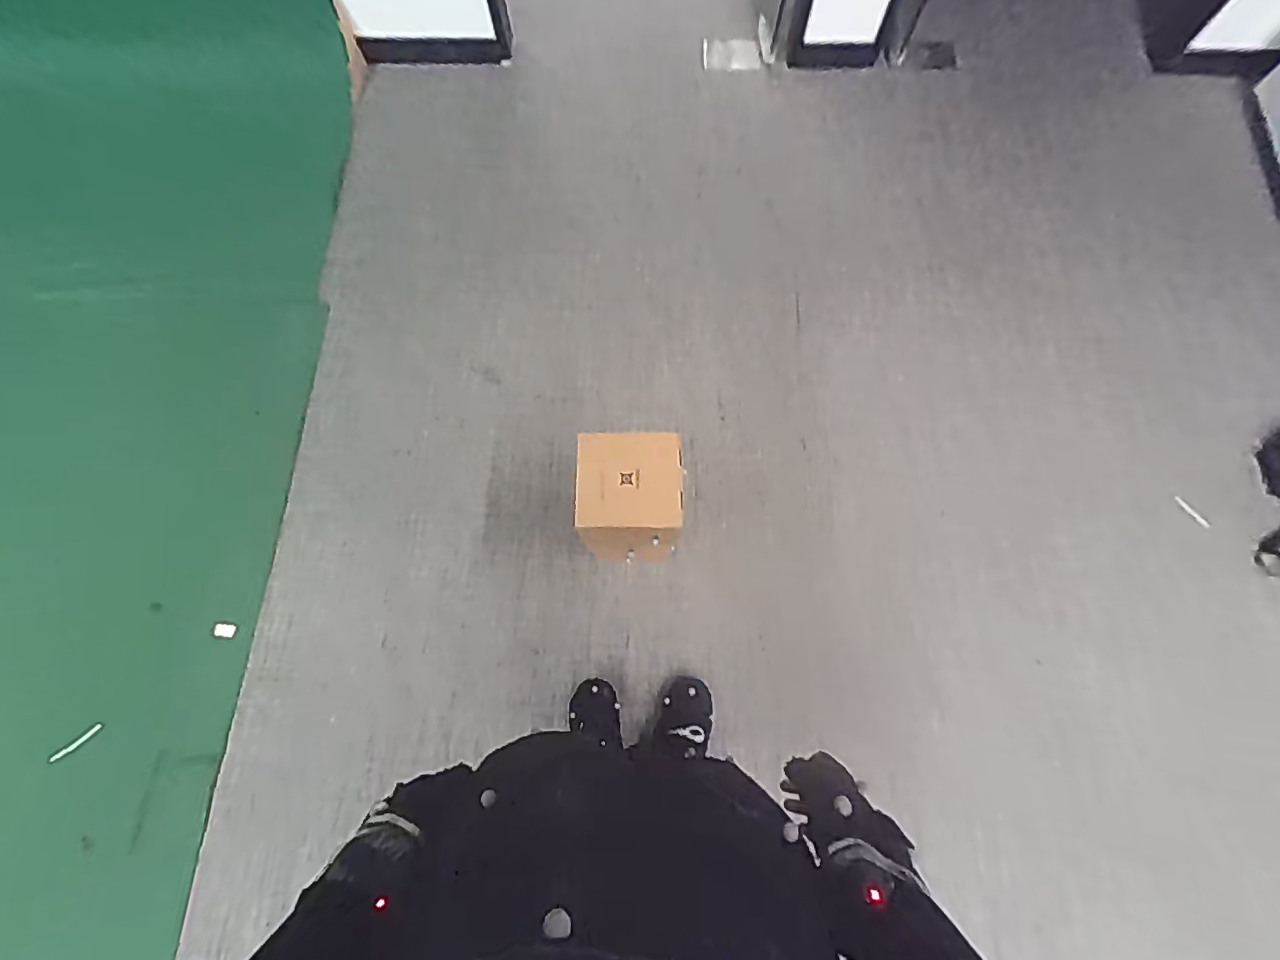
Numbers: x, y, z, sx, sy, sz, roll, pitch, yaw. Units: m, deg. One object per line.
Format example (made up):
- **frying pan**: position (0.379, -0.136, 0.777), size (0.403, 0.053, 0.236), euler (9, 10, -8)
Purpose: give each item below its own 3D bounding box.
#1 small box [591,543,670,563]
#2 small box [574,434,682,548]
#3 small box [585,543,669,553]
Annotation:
- **small box**: position (-0.019, 0.102, 1.285), size (0.179, 0.176, 0.168), euler (1, 73, 2)
- **small box**: position (-0.018, 0.025, 0.967), size (0.179, 0.176, 0.168), euler (-1, 72, 2)
- **small box**: position (-0.024, 0.058, 1.127), size (0.179, 0.176, 0.168), euler (-1, 73, 0)
